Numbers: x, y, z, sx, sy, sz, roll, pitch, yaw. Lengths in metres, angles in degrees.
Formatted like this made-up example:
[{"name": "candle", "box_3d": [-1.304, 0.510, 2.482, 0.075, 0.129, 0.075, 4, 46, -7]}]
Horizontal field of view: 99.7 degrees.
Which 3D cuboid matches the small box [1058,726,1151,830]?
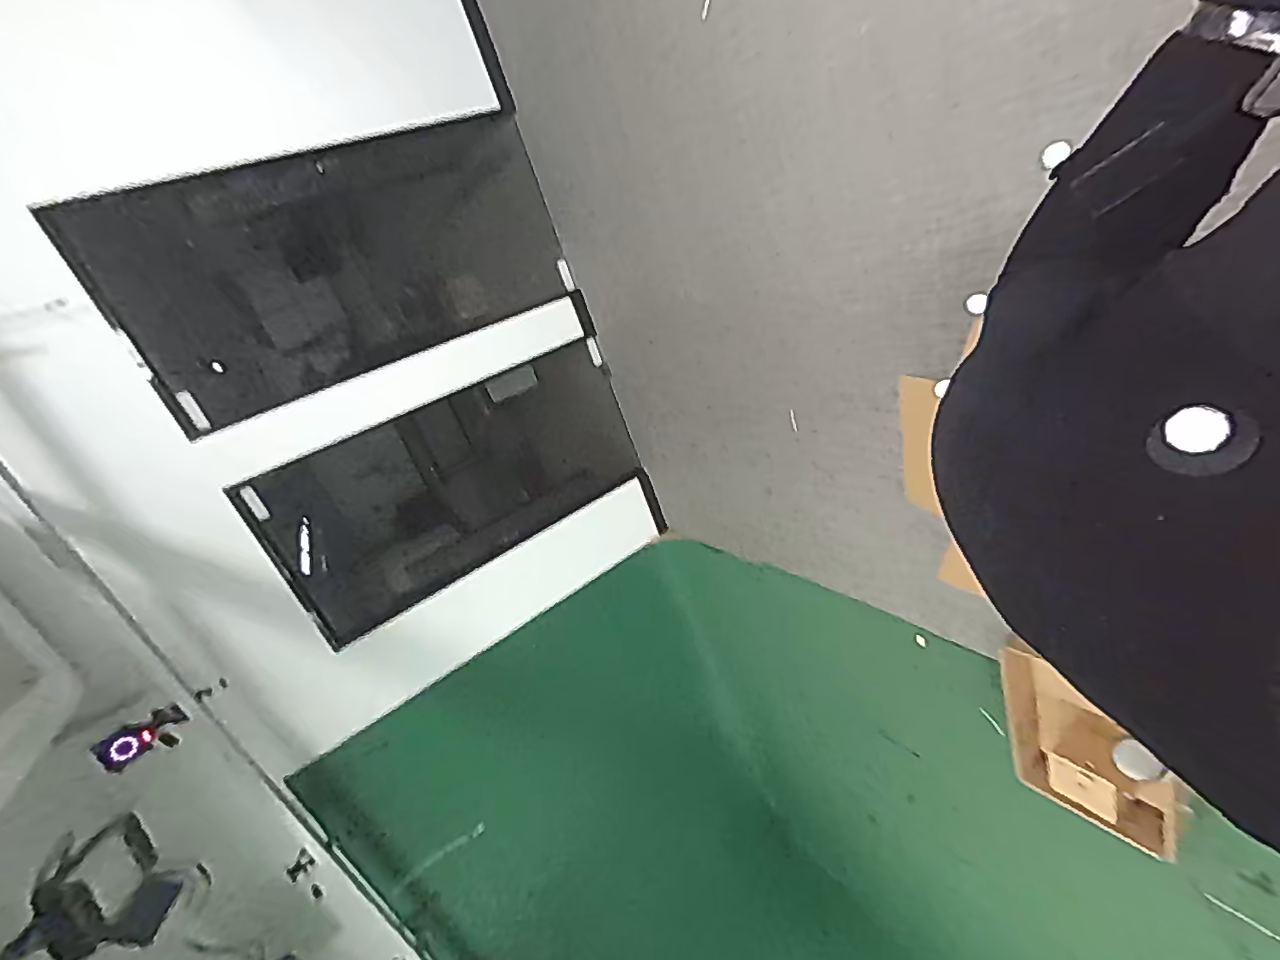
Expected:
[{"name": "small box", "box_3d": [1.408, 0.895, 1.637, 0.168, 0.176, 0.179, 18, 132, 59]}]
